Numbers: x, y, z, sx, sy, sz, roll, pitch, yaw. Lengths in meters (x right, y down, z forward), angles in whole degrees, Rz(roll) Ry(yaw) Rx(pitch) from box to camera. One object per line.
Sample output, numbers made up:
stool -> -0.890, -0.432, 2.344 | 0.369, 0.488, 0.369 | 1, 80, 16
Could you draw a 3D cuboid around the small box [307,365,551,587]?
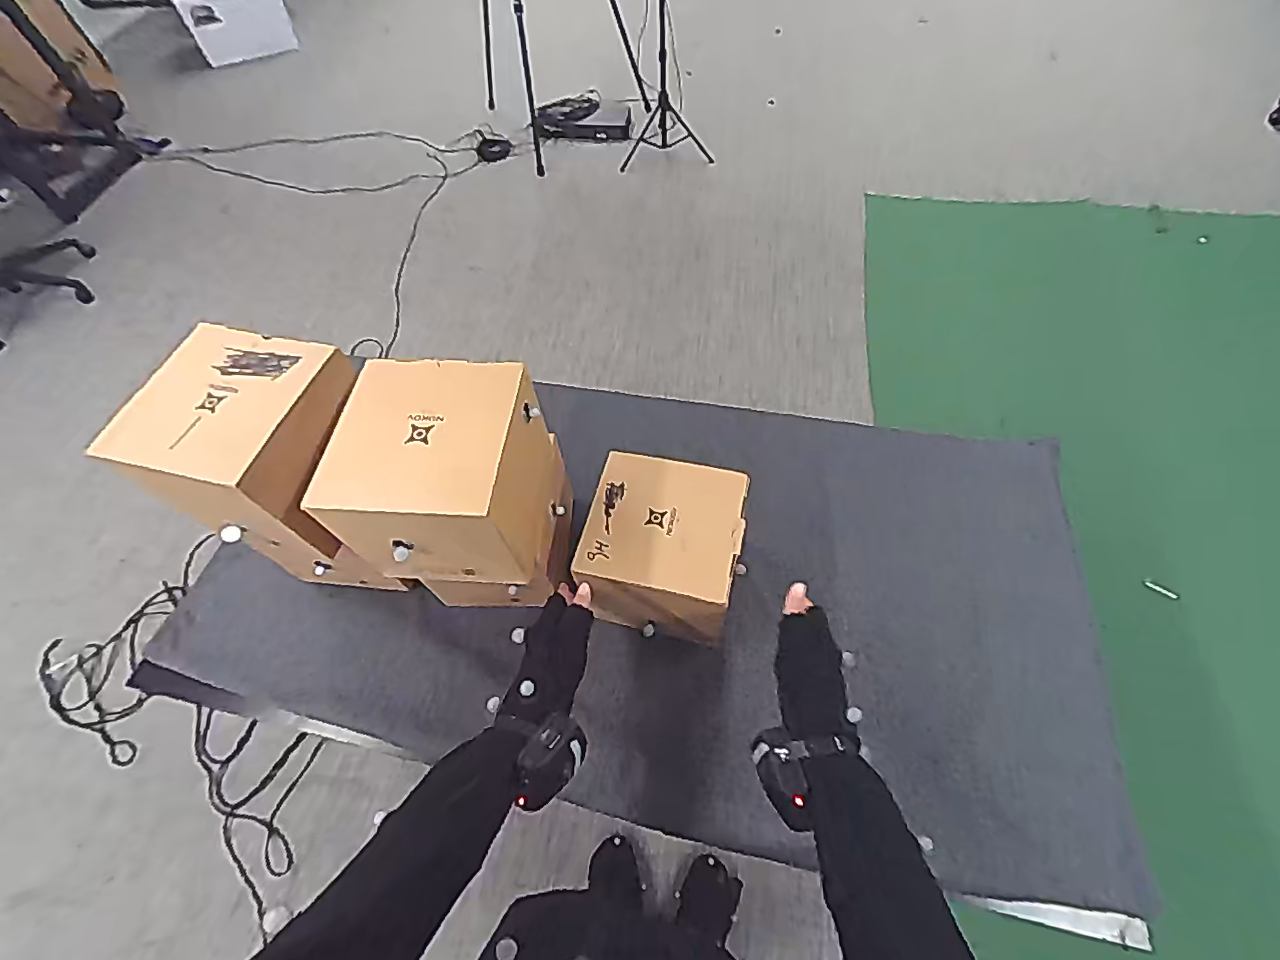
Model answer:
small box -> -0.196, 0.002, 0.567 | 0.168, 0.176, 0.179 | 2, 57, 3
